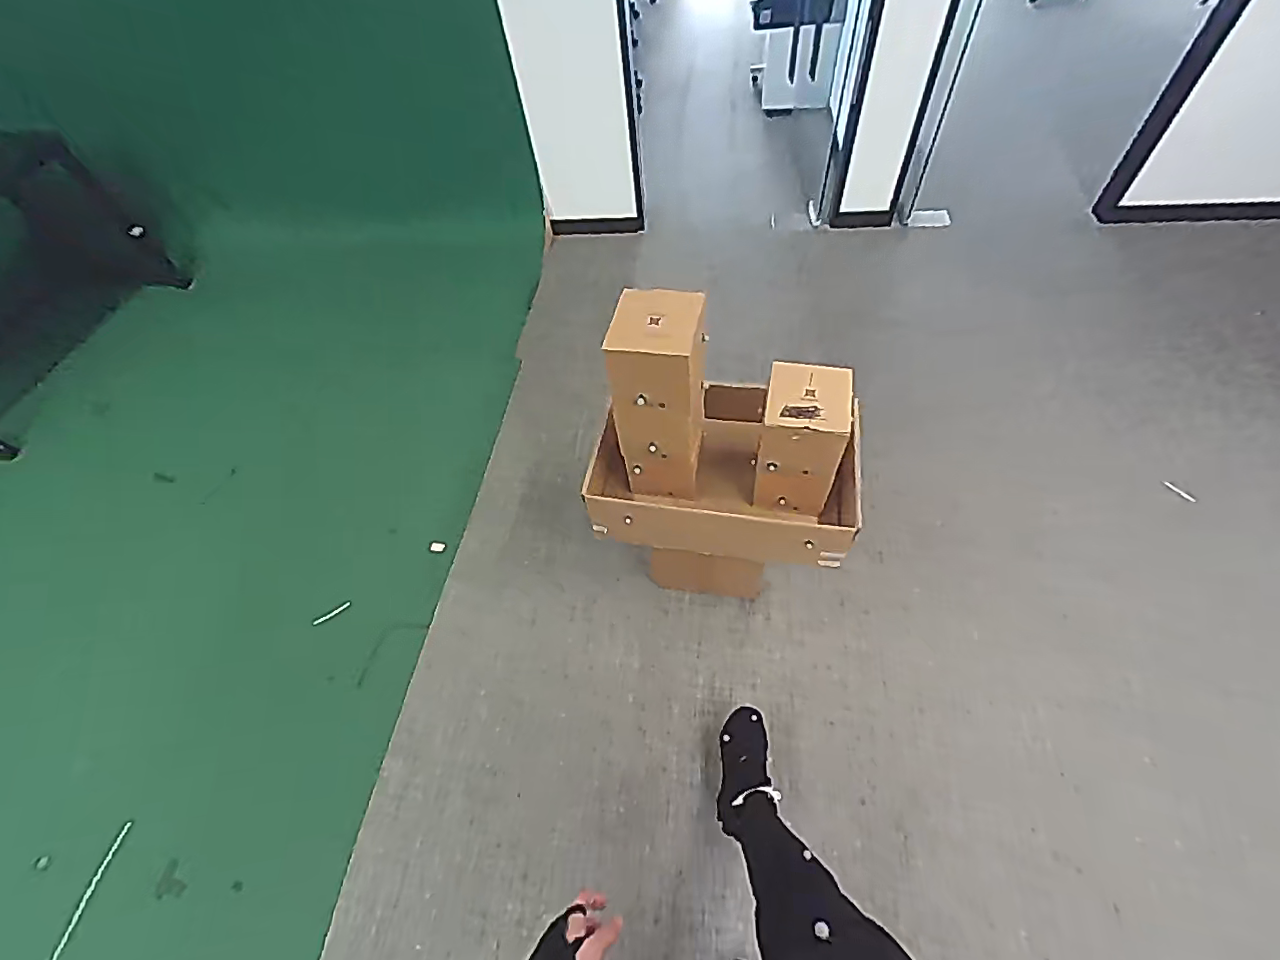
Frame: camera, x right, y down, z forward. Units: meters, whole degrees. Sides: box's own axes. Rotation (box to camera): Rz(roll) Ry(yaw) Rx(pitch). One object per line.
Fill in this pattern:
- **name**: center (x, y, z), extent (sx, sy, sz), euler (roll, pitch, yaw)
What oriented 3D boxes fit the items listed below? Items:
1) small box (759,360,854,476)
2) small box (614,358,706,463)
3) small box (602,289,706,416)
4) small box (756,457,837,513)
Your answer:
- **small box**: center (0.349, -0.129, 1.150), extent (0.168, 0.176, 0.179), euler (8, 58, 11)
- **small box**: center (0.052, -0.163, 1.209), extent (0.168, 0.176, 0.179), euler (8, 58, 13)
- **small box**: center (0.035, -0.252, 1.074), extent (0.168, 0.176, 0.179), euler (7, 58, 13)
- **small box**: center (0.370, -0.044, 1.289), extent (0.168, 0.176, 0.179), euler (6, 58, 11)
